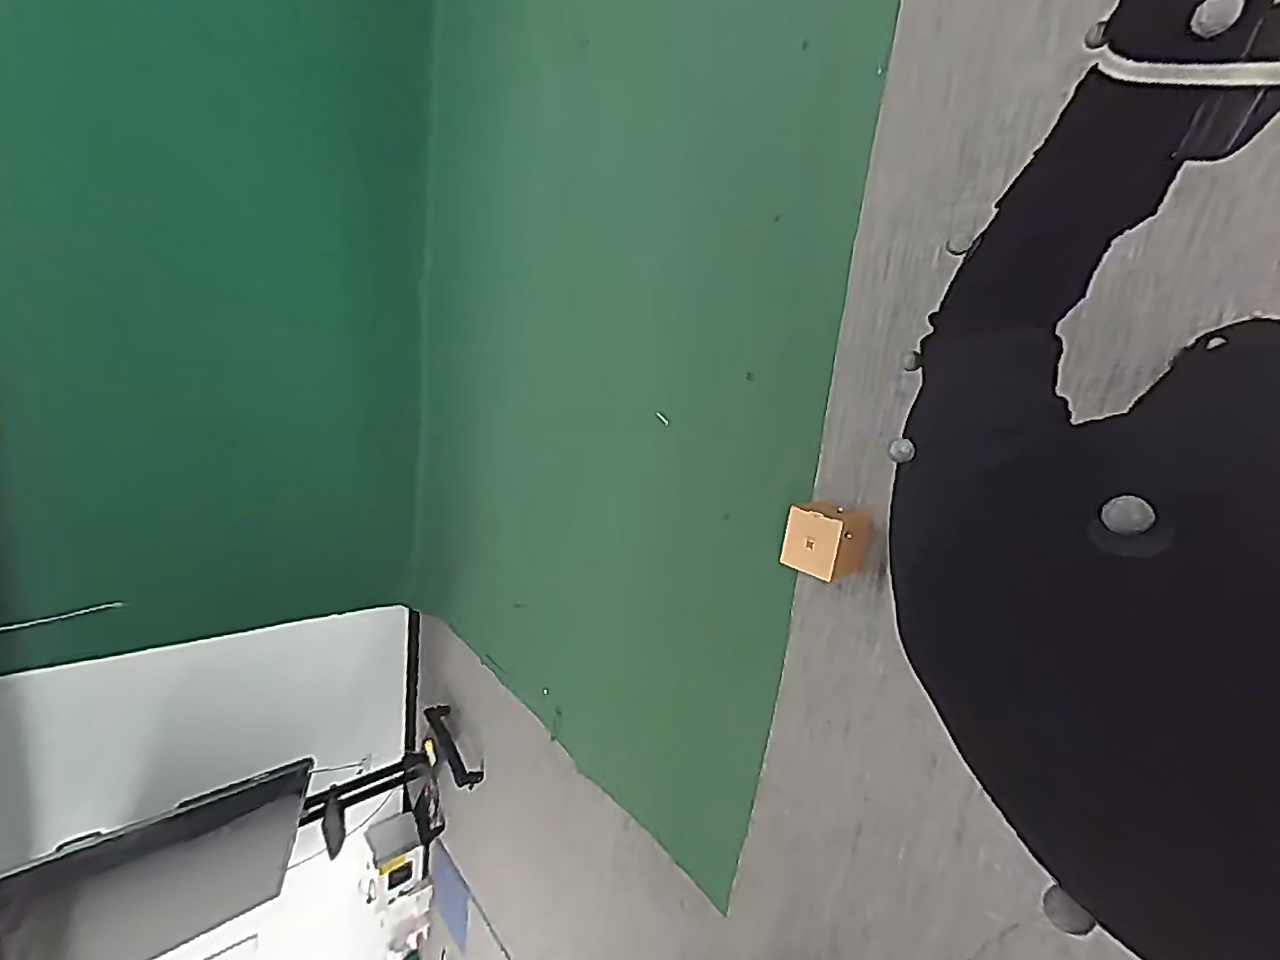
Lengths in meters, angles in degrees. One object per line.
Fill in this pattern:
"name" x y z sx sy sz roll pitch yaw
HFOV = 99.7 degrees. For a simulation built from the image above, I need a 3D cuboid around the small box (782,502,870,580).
"small box" 0.538 0.168 1.556 0.168 0.176 0.179 19 105 45
